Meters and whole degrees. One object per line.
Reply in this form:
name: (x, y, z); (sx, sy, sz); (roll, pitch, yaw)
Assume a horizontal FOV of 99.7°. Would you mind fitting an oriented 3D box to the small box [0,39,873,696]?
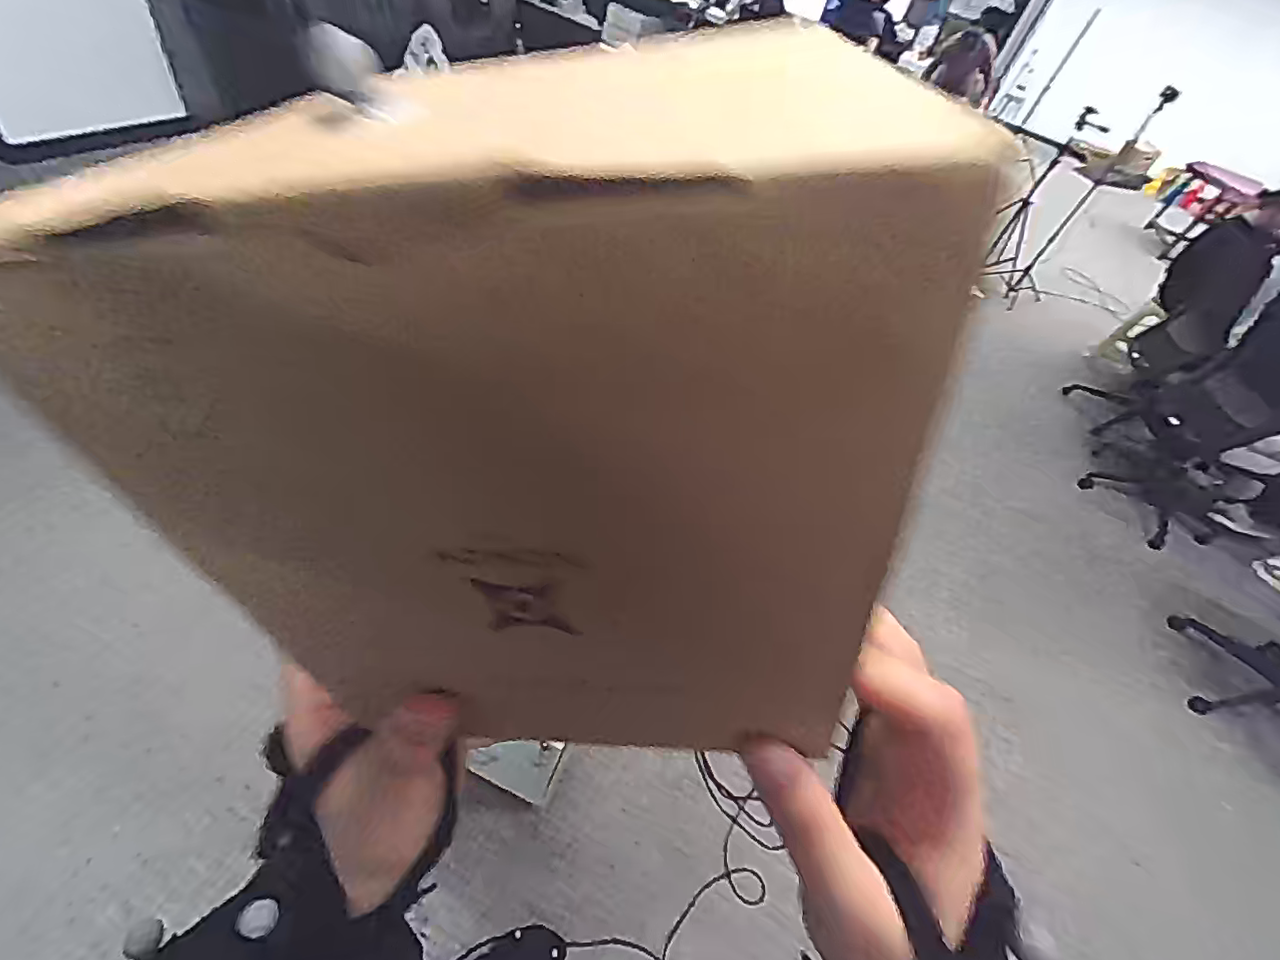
small box: (-0.031, -0.040, 0.200); (0.168, 0.179, 0.176); (-2, 44, 9)
